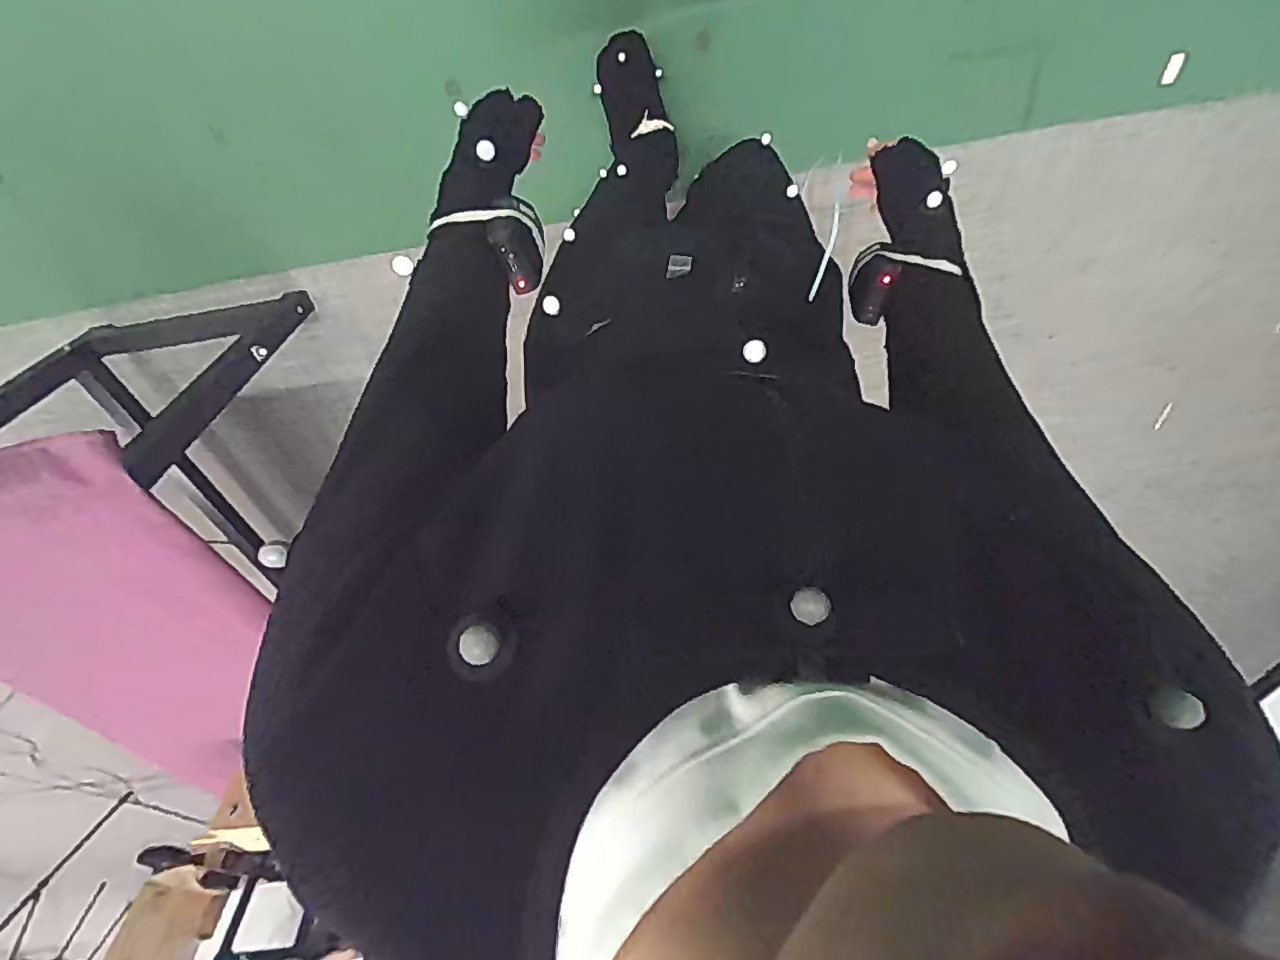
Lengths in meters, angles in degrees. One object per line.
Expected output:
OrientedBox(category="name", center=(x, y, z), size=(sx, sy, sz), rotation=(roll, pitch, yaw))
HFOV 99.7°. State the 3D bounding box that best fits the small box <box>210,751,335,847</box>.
OrientedBox(category="small box", center=(-0.928, 0.816, 1.386), size=(0.179, 0.176, 0.168), rotation=(-7, 132, 3))
